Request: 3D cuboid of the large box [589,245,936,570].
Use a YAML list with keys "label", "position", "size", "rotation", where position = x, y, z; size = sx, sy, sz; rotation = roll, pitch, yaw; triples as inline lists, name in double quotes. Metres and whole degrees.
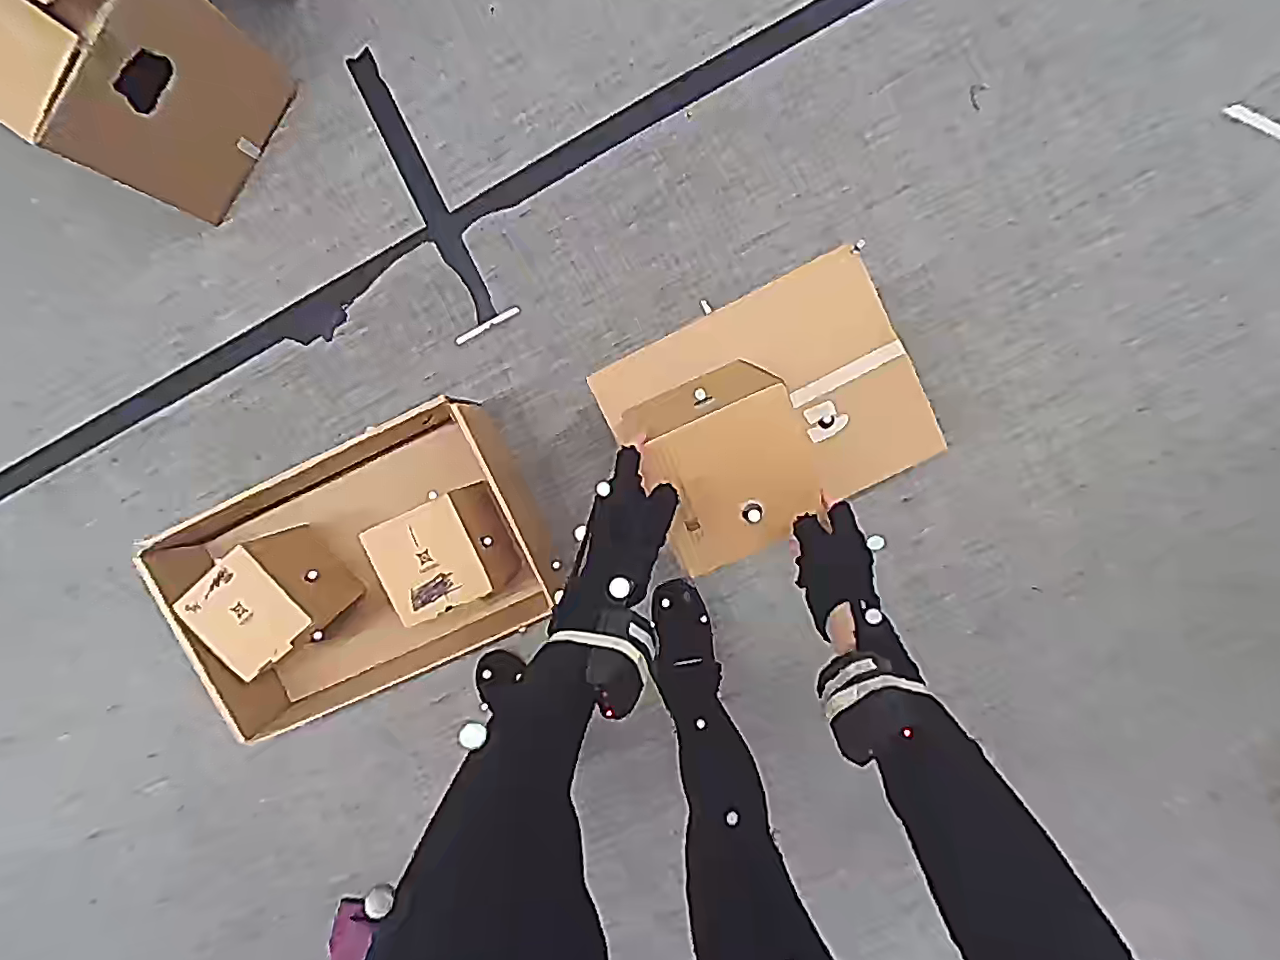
- label: "large box"
  position: [0.171, -0.105, 0.898]
  size: [0.408, 0.320, 0.320]
  rotation: [-27, 95, 3]
